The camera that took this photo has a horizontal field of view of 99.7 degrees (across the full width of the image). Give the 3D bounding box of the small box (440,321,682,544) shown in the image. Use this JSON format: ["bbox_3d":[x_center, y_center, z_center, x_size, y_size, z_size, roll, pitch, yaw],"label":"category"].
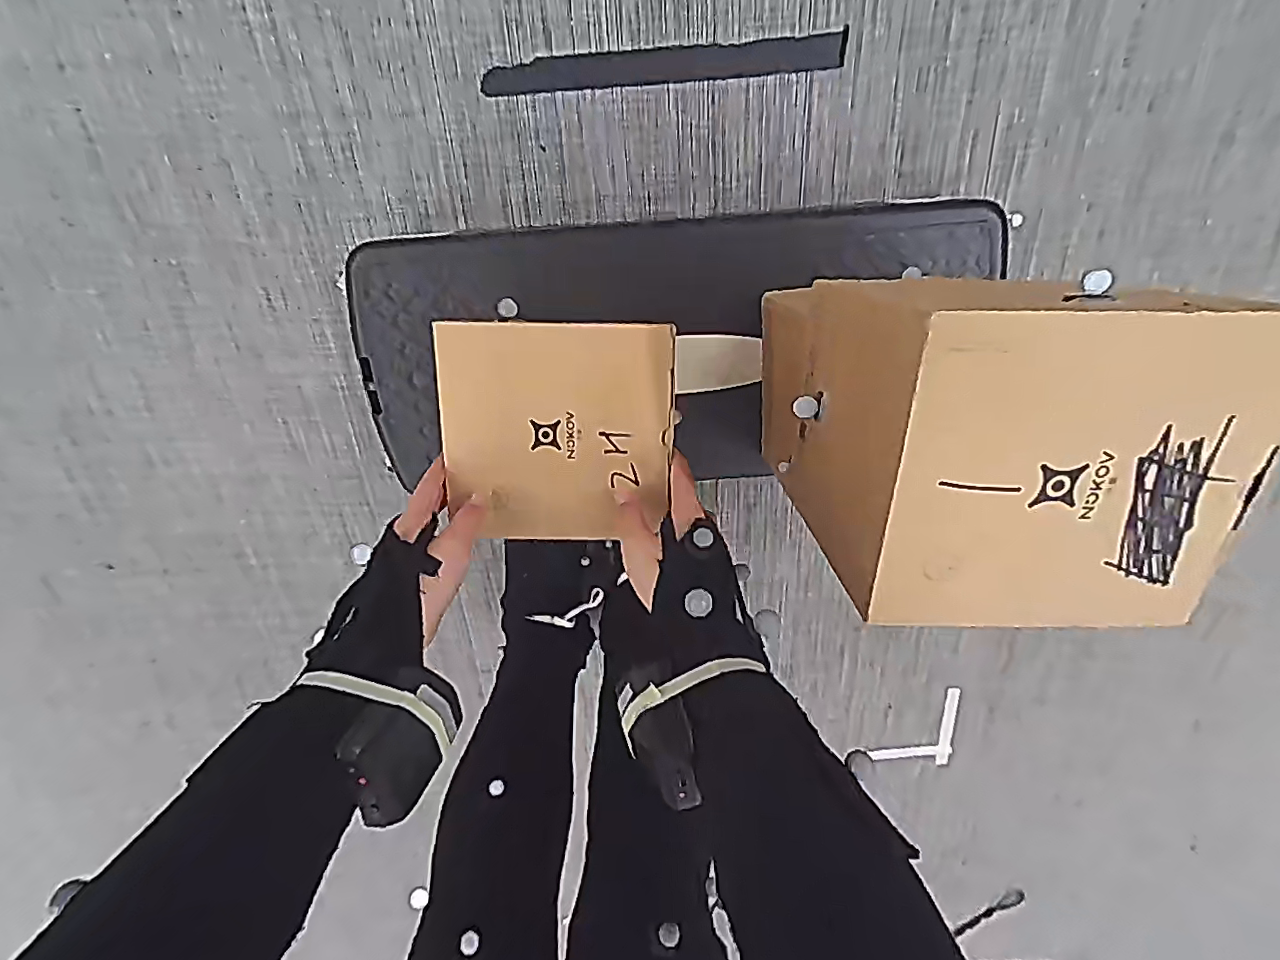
[{"bbox_3d":[-0.060,-0.050,0.482,0.179,0.176,0.168,1,104,-2],"label":"small box"}]

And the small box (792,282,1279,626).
[{"bbox_3d":[0.210,-0.030,0.333,0.179,0.176,0.168,0,114,0],"label":"small box"}]

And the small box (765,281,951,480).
[{"bbox_3d":[0.213,-0.082,0.490,0.168,0.176,0.179,-5,114,1],"label":"small box"}]
